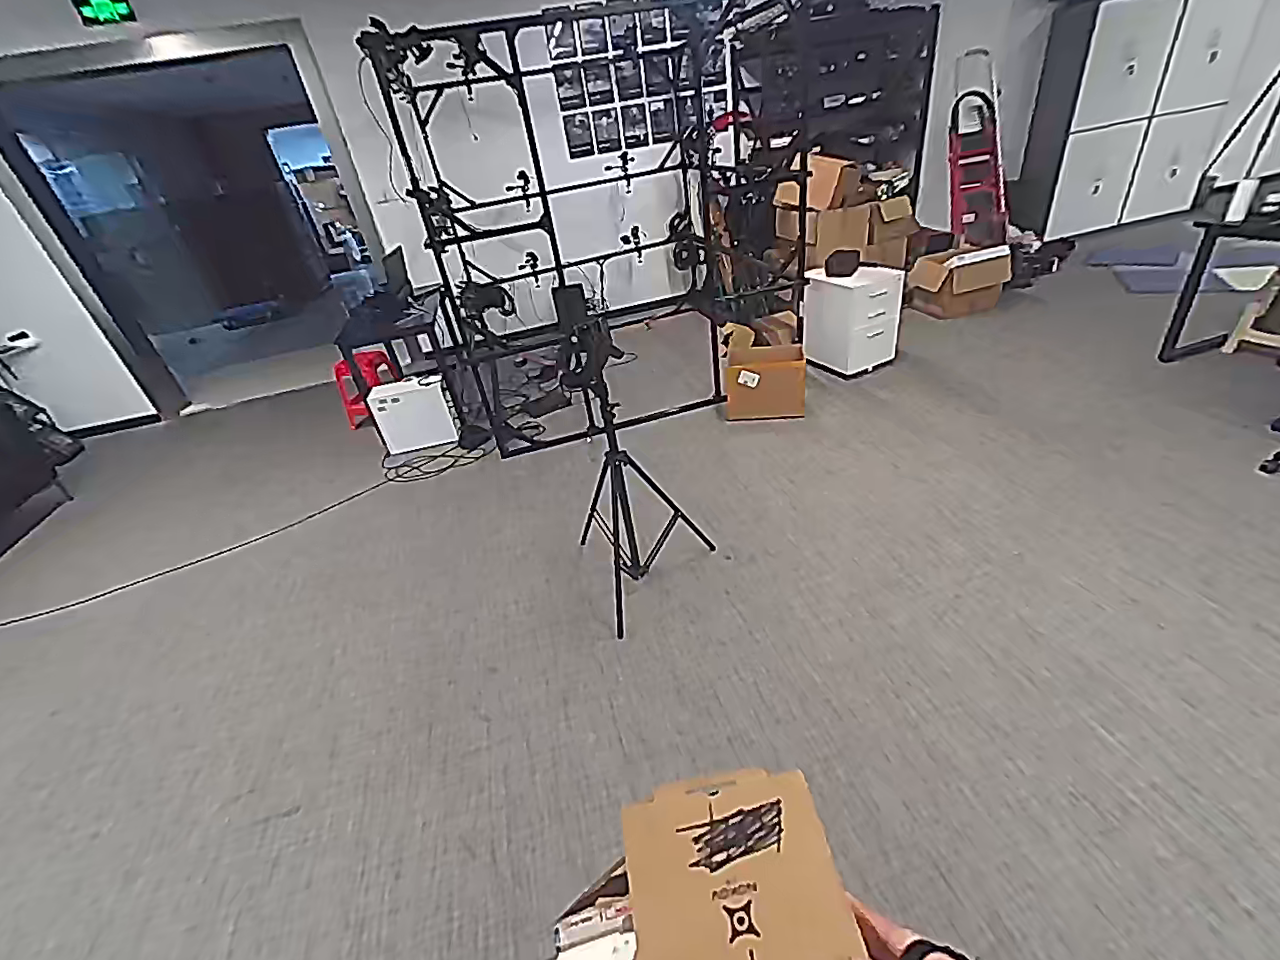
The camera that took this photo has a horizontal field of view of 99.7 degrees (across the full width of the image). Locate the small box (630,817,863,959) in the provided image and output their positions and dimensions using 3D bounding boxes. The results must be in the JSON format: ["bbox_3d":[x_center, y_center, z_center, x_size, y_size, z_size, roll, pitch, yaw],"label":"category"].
[{"bbox_3d":[0.089,0.417,0.448,0.168,0.176,0.179,-10,41,-2],"label":"small box"}]
